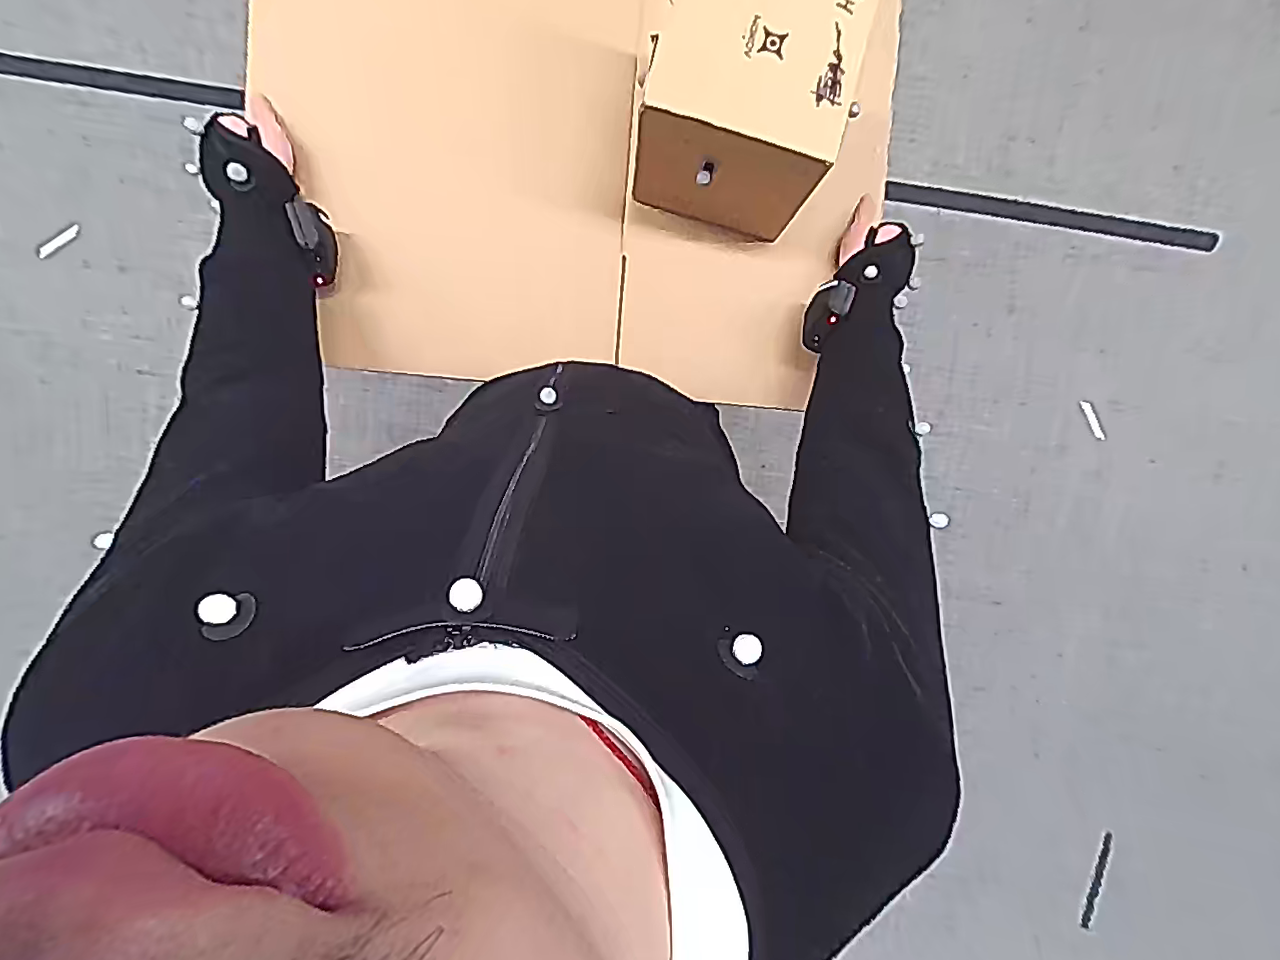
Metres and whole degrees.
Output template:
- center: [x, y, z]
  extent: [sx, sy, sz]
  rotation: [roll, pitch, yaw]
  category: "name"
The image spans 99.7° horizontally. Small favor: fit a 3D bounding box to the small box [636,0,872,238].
- center: [0.098, -0.373, 0.549]
  extent: [0.179, 0.176, 0.168]
  rotation: [15, 91, -3]
  category: "small box"
